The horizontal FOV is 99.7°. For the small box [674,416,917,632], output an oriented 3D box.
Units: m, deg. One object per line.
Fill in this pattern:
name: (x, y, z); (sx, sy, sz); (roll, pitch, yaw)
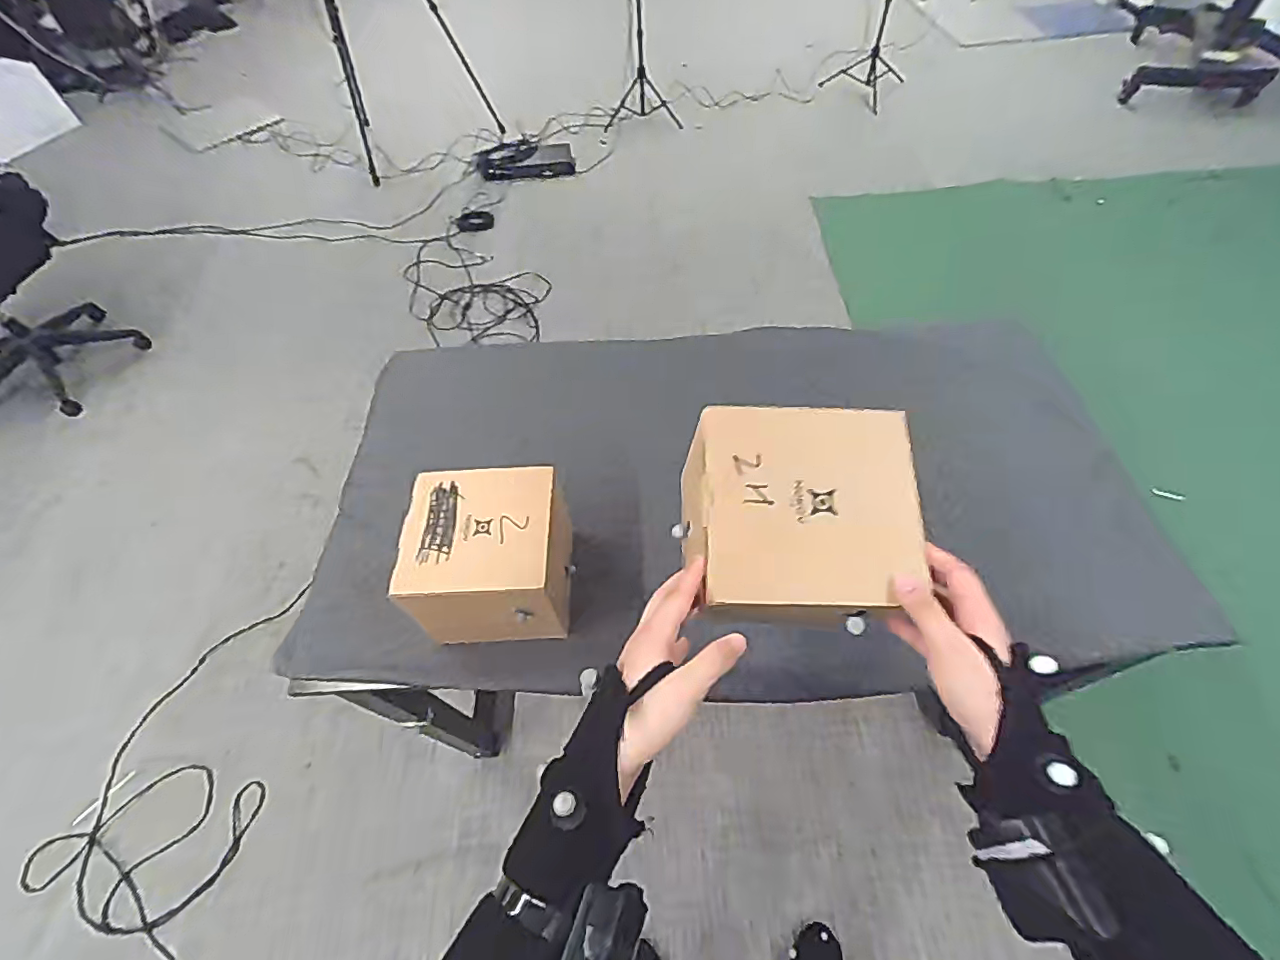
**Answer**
small box: (0.127, 0.052, 0.515); (0.179, 0.176, 0.168); (1, 70, 0)
